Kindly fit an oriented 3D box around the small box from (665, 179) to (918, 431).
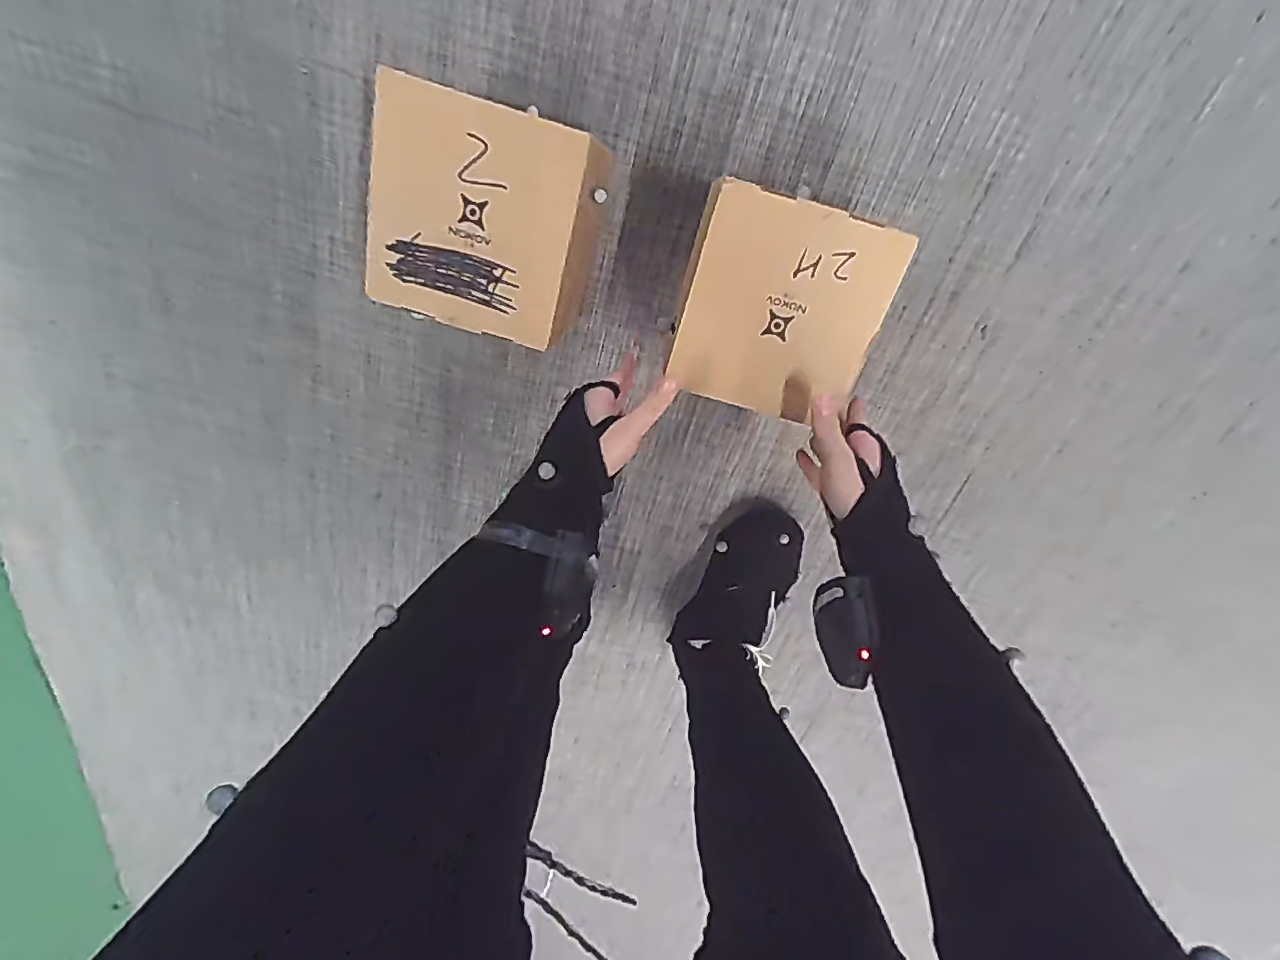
[{"bbox_3d":[0.130,-0.176,0.536,0.168,0.176,0.179,15,116,-4],"label":"small box"}]
